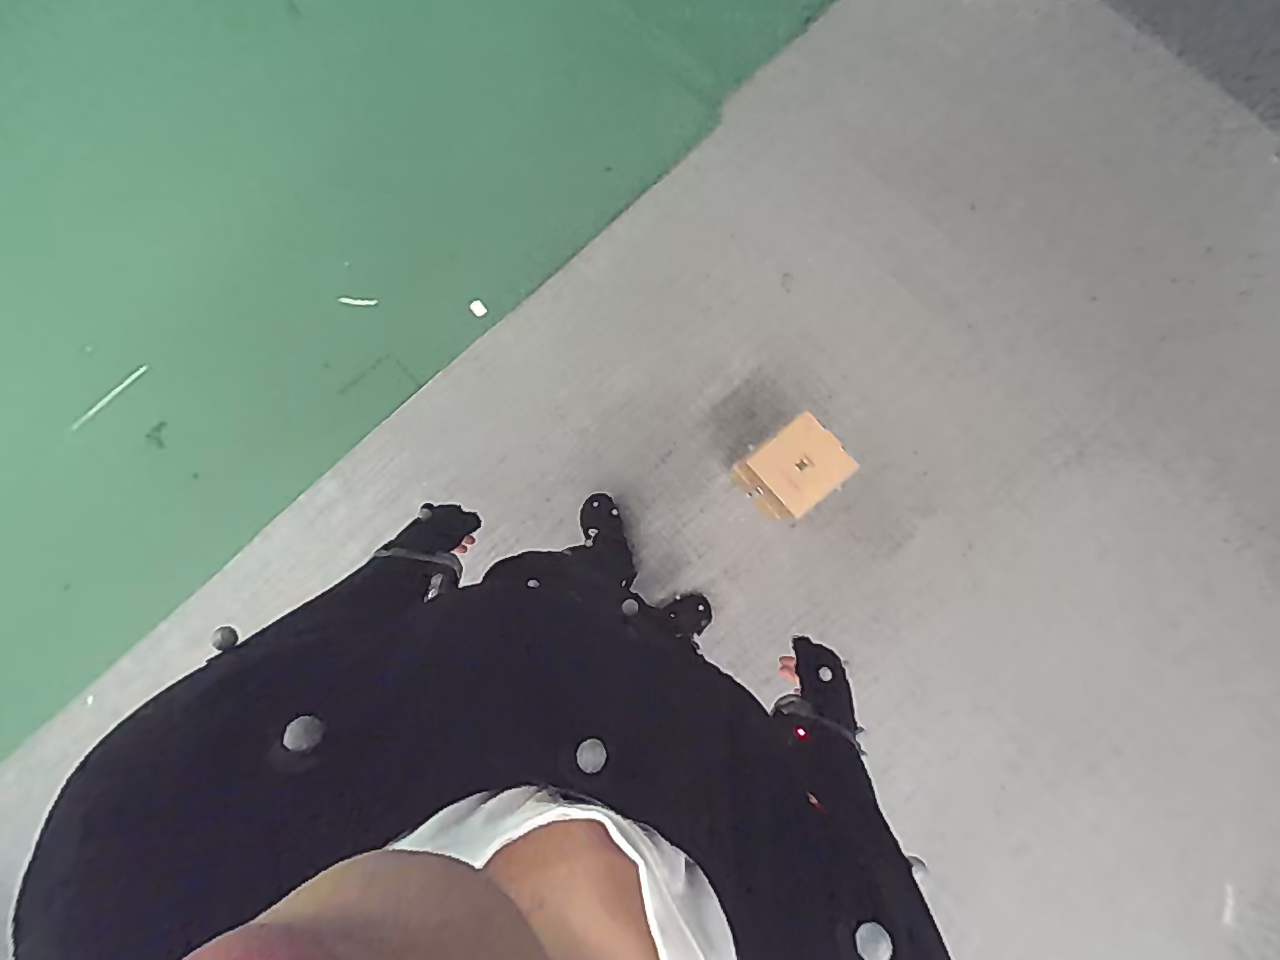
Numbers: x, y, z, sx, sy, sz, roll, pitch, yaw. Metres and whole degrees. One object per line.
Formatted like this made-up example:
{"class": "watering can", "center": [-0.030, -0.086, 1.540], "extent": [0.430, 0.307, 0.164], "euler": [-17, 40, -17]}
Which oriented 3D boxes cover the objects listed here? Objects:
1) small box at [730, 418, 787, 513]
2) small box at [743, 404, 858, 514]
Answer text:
{"class": "small box", "center": [0.348, -0.030, 1.385], "extent": [0.168, 0.176, 0.179], "euler": [-39, 81, 0]}
{"class": "small box", "center": [0.351, -0.041, 1.223], "extent": [0.179, 0.176, 0.168], "euler": [-41, 81, 1]}
